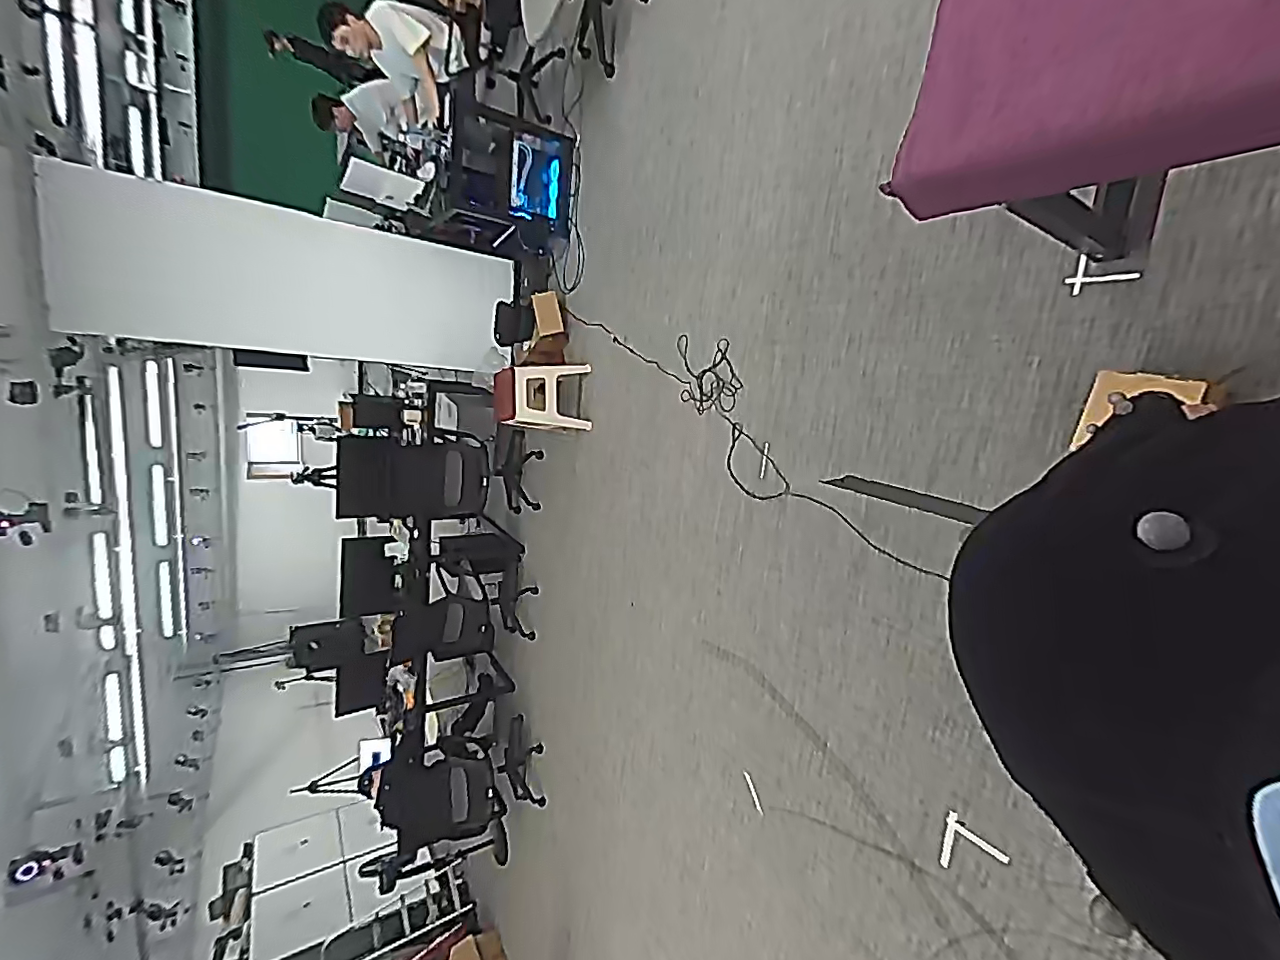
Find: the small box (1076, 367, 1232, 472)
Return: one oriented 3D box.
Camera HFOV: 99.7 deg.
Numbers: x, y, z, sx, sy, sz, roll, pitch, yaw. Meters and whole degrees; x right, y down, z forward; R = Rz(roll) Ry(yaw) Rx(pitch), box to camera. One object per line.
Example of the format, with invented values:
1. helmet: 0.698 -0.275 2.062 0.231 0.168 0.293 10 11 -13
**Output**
1. small box: 1.036 -0.122 1.091 0.168 0.176 0.179 30 115 52
